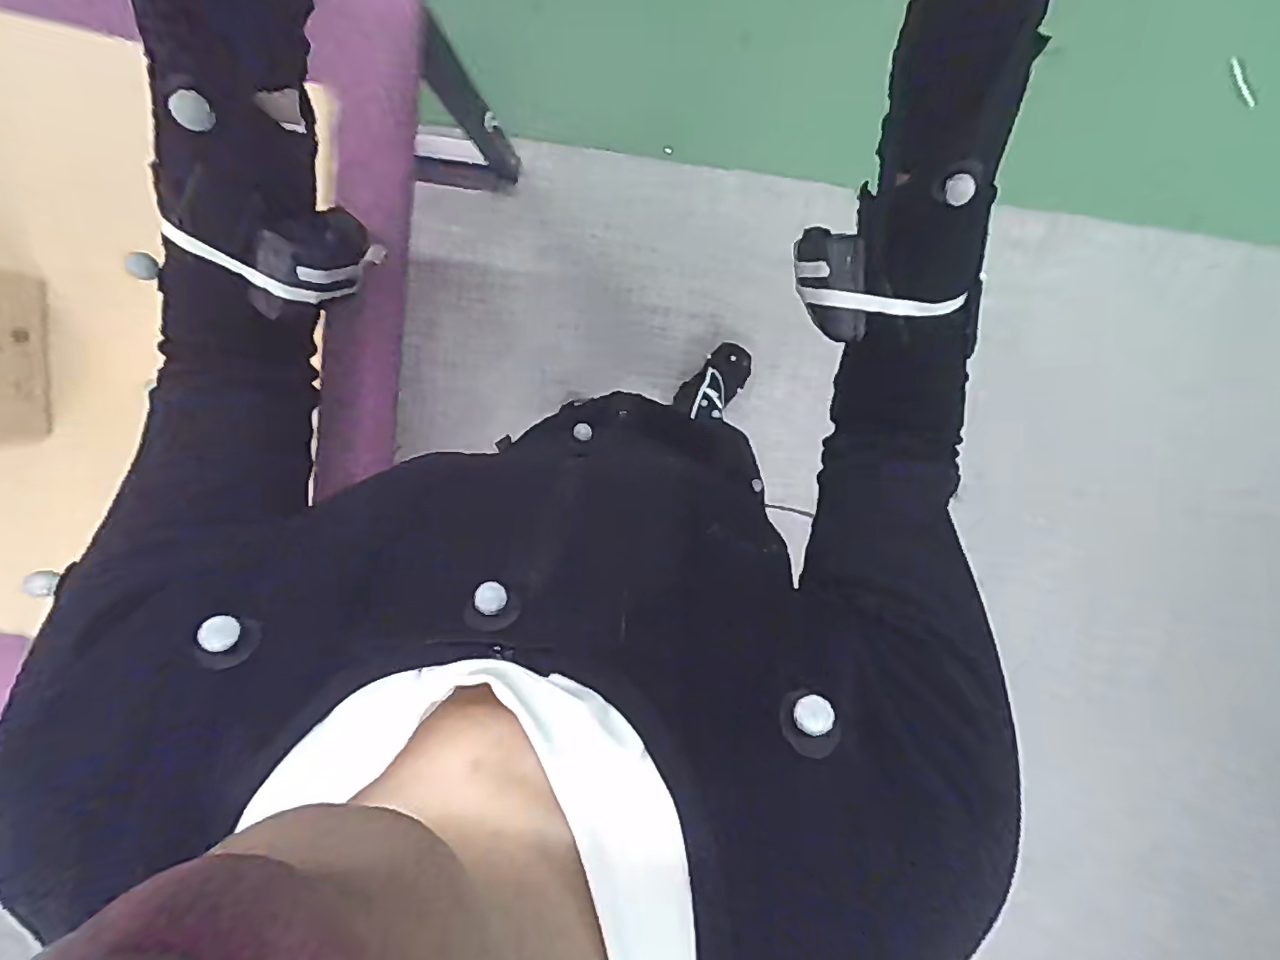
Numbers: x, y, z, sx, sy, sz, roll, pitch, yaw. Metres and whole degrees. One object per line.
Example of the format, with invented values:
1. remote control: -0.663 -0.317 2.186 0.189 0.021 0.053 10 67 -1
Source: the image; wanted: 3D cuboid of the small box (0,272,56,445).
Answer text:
1. small box: -0.674 -0.115 0.463 0.179 0.176 0.168 10 102 -1
